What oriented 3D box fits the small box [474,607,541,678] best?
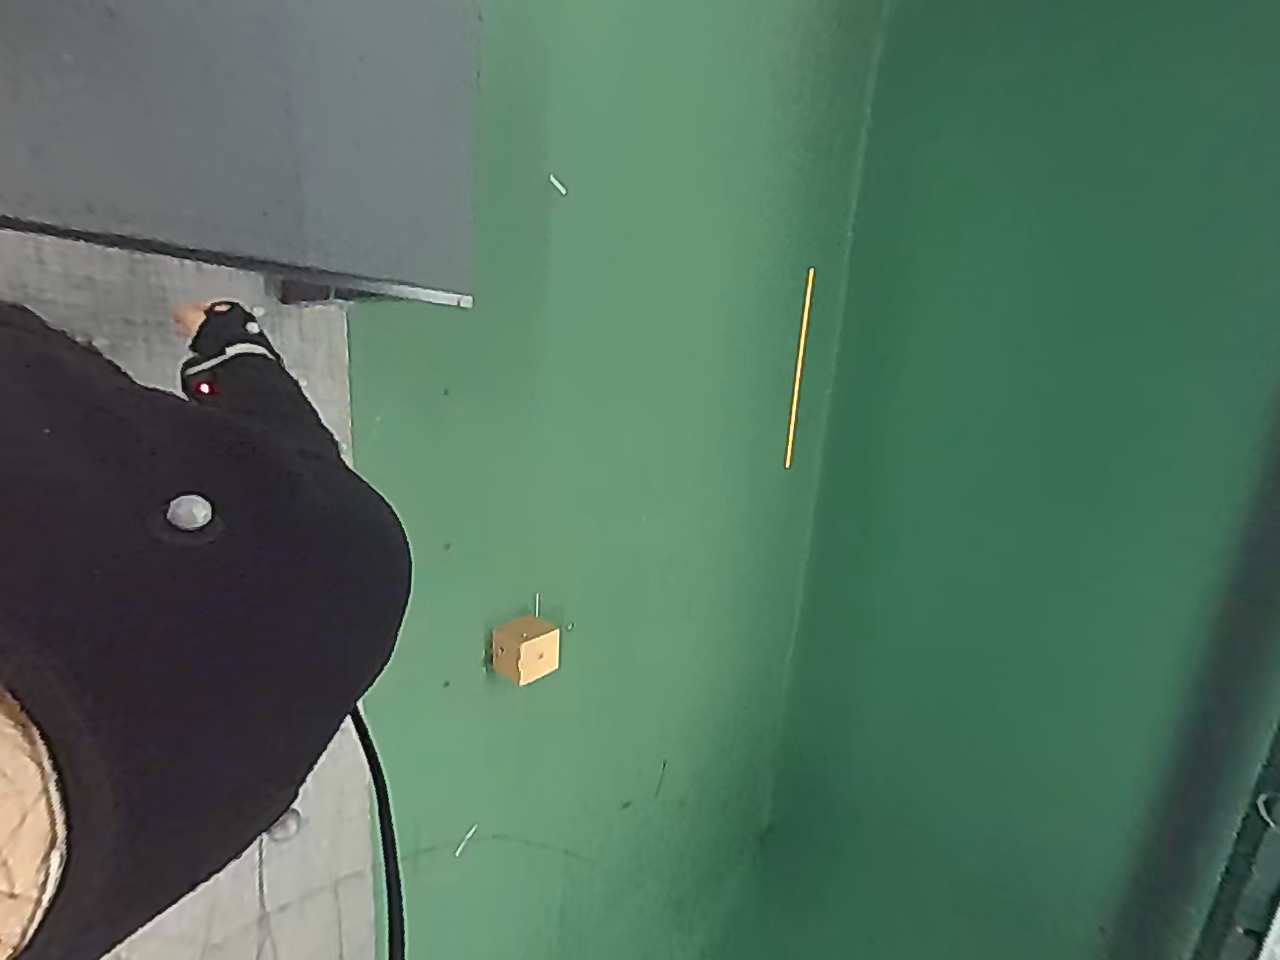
[{"bbox_3d":[-0.488,0.589,1.987,0.179,0.176,0.168,-11,111,-49],"label":"small box"}]
